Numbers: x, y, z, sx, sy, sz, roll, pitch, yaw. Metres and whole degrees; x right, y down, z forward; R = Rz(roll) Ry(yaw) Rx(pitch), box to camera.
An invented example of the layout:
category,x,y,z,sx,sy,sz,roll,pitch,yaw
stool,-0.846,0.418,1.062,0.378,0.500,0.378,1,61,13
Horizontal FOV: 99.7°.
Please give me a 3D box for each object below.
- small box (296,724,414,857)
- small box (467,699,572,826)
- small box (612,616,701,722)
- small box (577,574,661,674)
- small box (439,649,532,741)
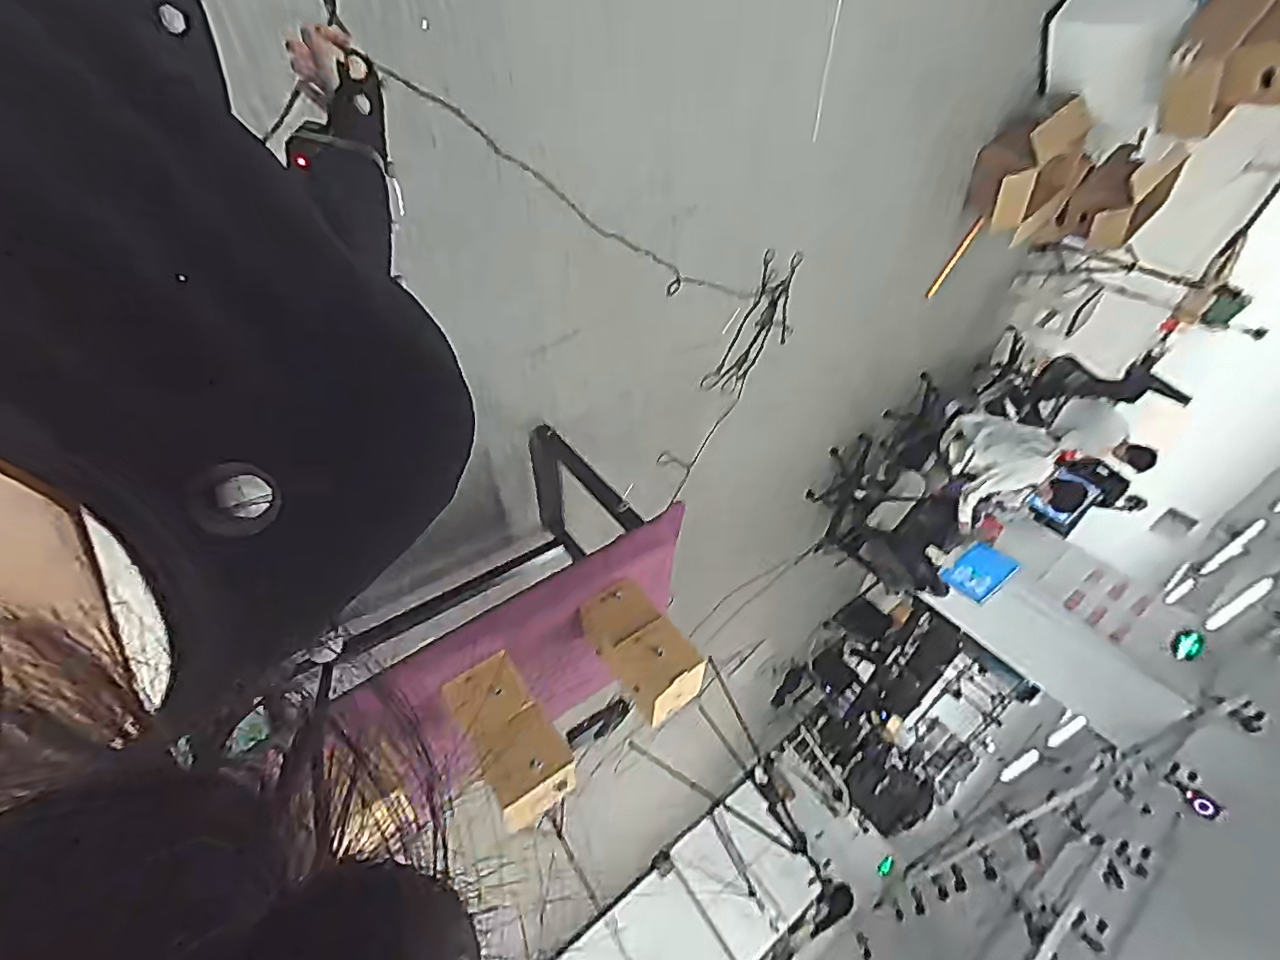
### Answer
category,x,y,z,sx,sy,sz,roll,pitch,yaw
small box,-0.623,0.670,1.184,0.168,0.176,0.179,-24,141,-29
small box,-0.273,0.640,1.240,0.179,0.176,0.168,-25,141,-28
small box,0.037,0.481,1.409,0.168,0.176,0.179,-26,140,-27
small box,-0.061,0.396,1.510,0.168,0.176,0.179,-27,140,-26
small box,-0.372,0.547,1.332,0.168,0.176,0.179,-28,143,-26
